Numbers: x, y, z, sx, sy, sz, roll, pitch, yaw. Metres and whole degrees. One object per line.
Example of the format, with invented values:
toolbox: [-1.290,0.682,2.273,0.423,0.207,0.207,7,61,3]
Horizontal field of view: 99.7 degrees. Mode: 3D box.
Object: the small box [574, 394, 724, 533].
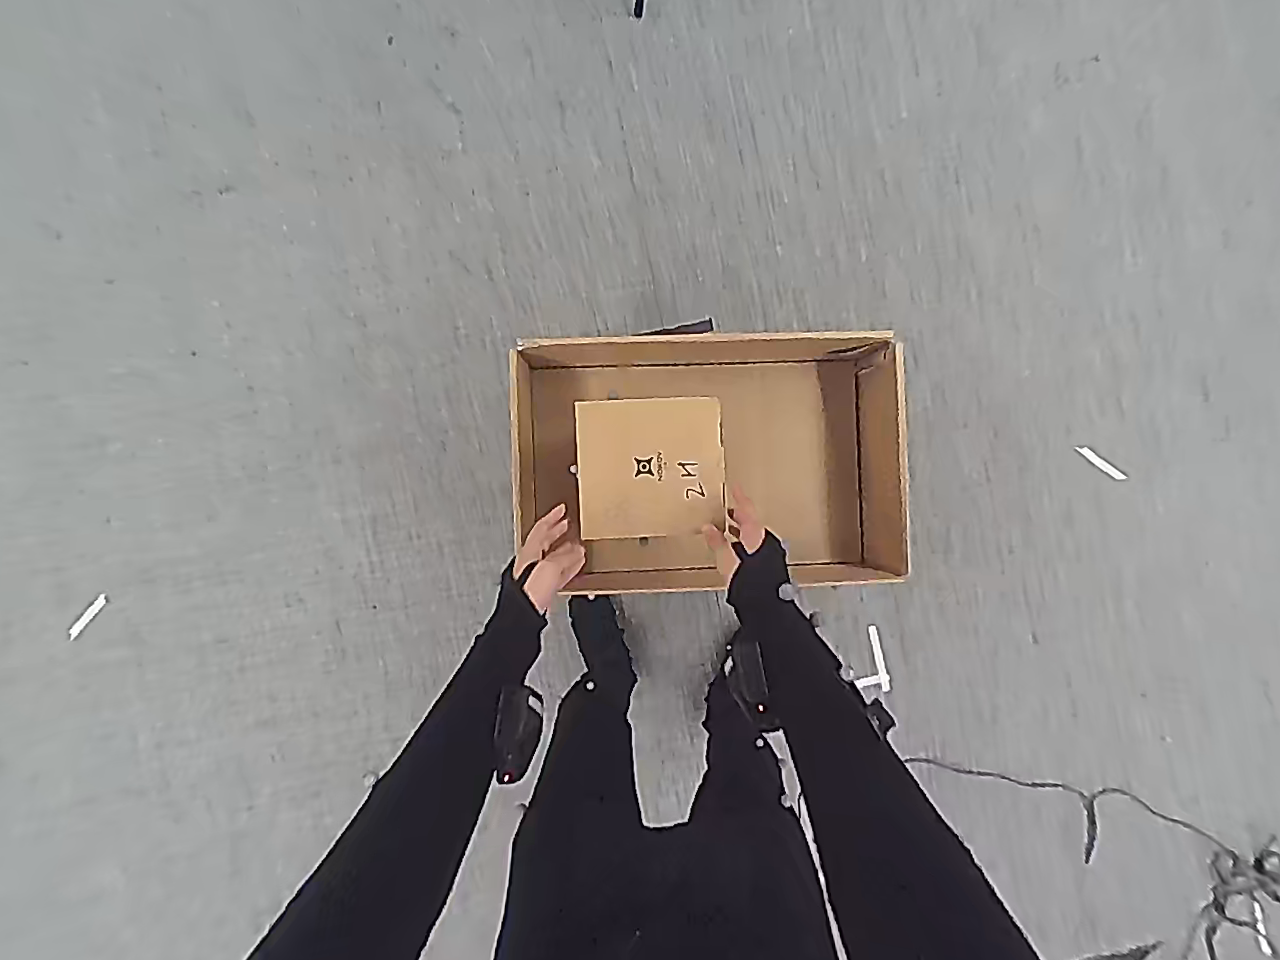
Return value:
small box: [0.009,-0.018,0.714,0.179,0.176,0.168,-2,90,-2]
